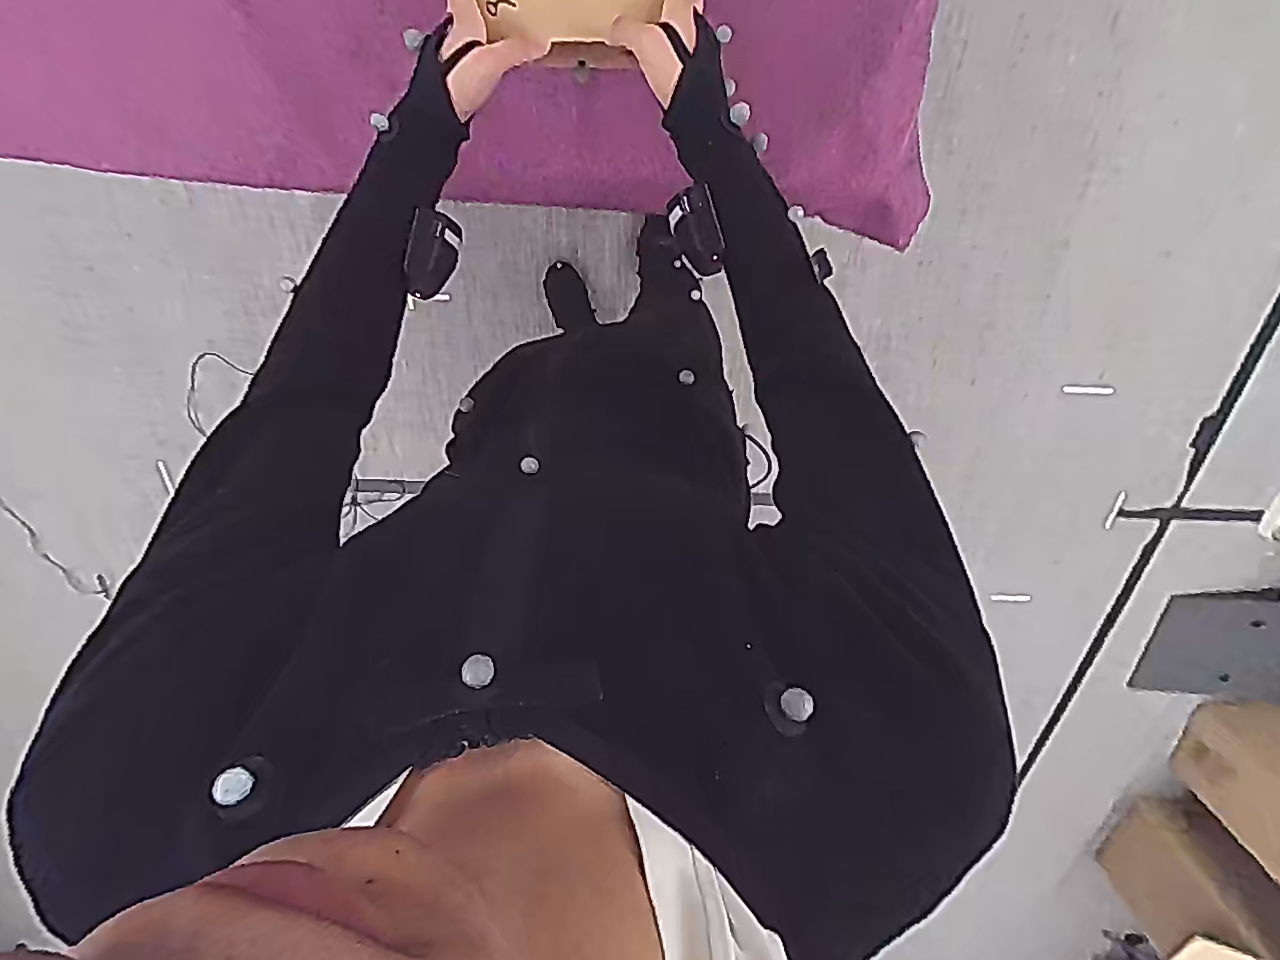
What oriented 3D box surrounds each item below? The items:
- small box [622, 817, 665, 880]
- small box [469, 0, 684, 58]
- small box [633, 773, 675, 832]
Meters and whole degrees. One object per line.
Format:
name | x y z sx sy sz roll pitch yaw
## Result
small box | 0.012 1.583 2.318 0.168 0.176 0.179 4 118 -4
small box | -0.056 -0.486 0.473 0.179 0.176 0.168 -2 121 -3
small box | 0.064 1.455 2.434 0.168 0.176 0.179 -9 118 3
